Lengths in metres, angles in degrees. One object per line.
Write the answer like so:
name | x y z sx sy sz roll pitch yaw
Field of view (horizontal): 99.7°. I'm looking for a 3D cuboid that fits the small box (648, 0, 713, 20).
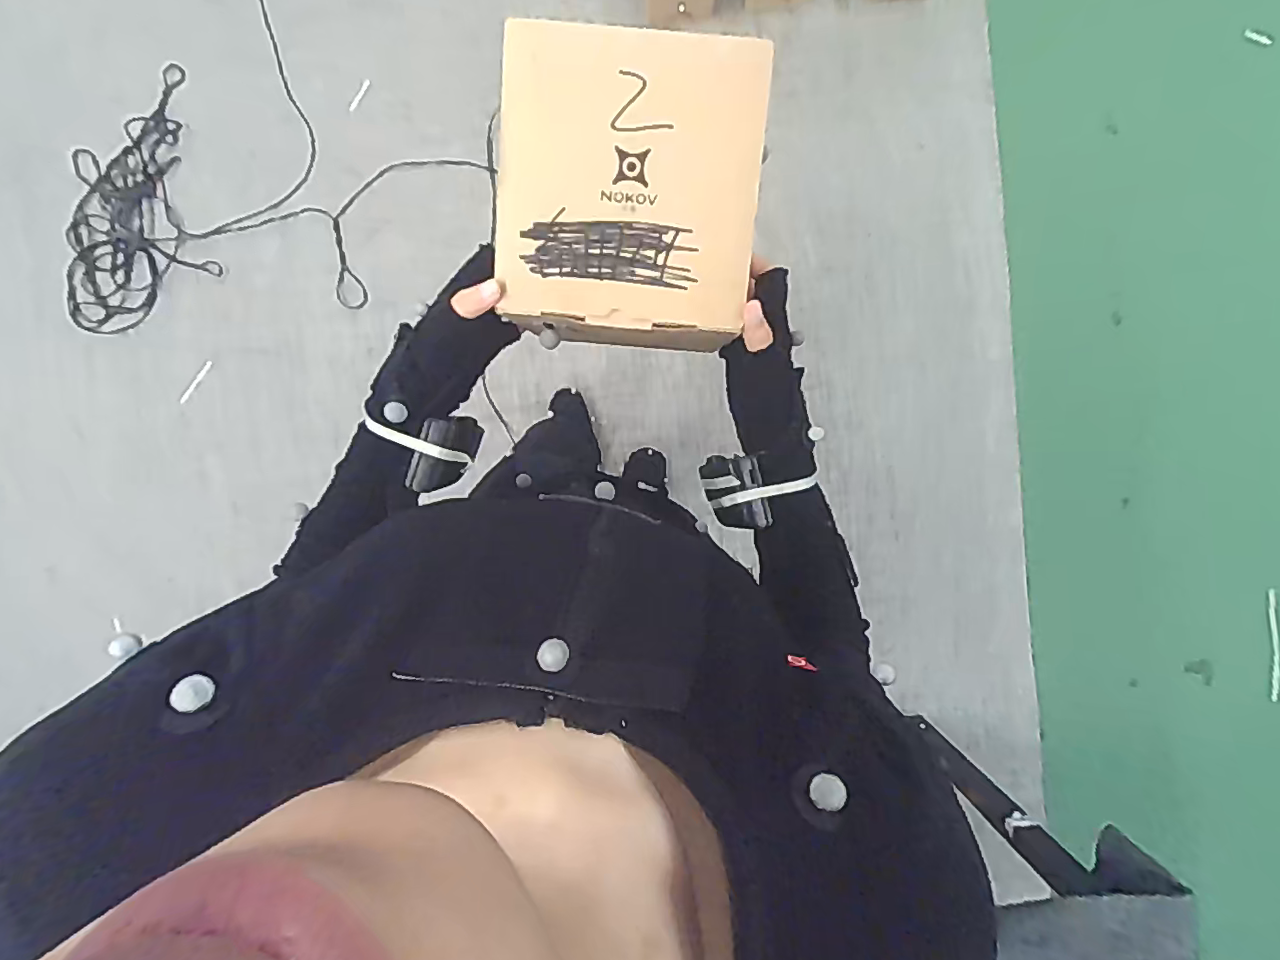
small box | 0.098 -1.287 1.325 0.168 0.176 0.179 -5 93 1
